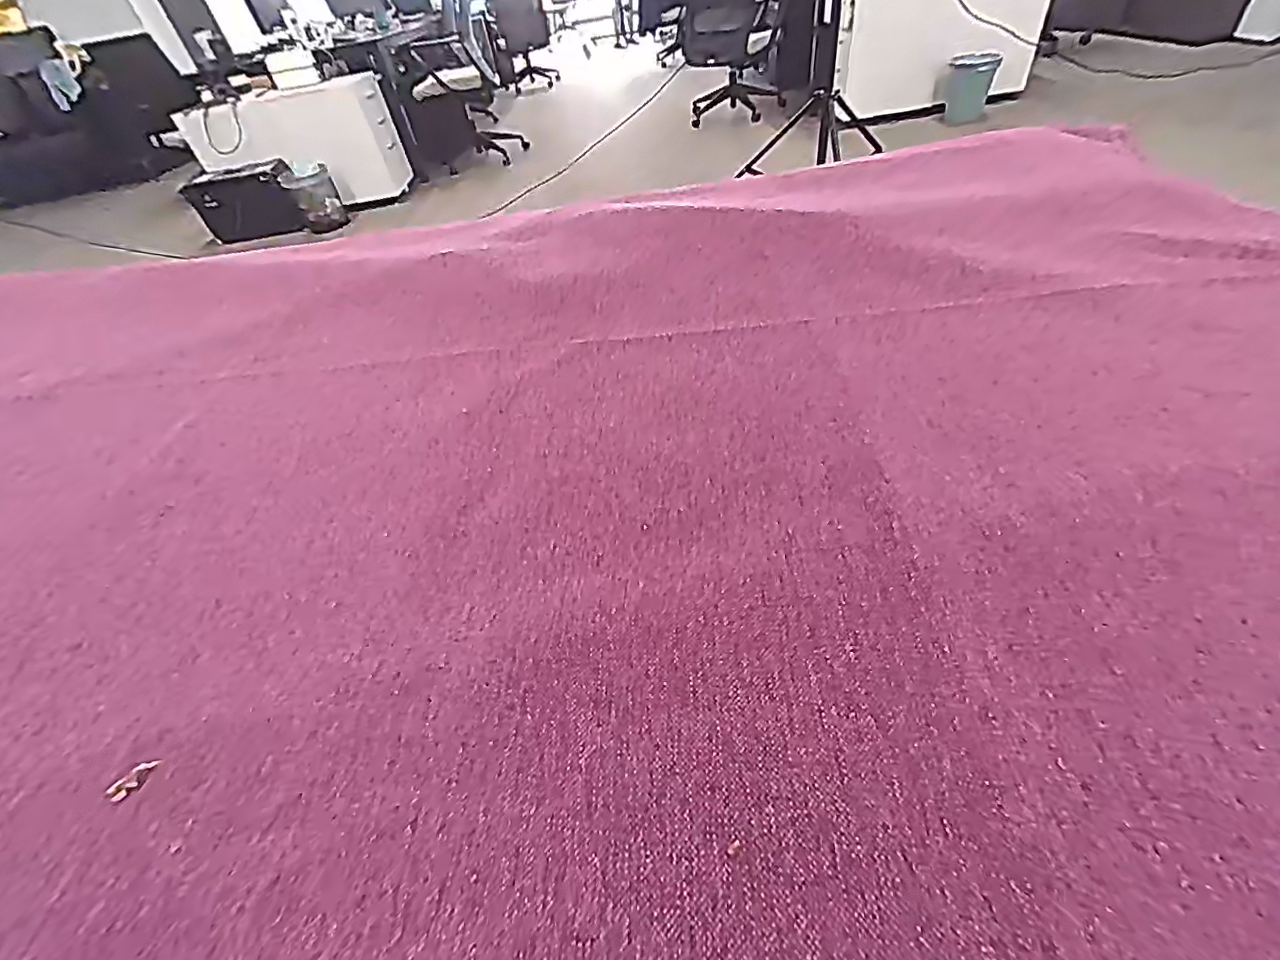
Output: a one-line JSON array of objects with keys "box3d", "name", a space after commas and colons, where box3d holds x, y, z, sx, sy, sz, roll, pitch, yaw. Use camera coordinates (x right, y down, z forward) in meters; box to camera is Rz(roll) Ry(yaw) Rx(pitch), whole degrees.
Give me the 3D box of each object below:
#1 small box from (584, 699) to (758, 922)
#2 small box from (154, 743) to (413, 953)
[{"box3d": [0.033, 0.380, 0.621, 0.168, 0.176, 0.179, -11, 46, 3], "name": "small box"}, {"box3d": [-0.395, 0.439, 0.644, 0.168, 0.176, 0.179, -7, 46, 3], "name": "small box"}]
